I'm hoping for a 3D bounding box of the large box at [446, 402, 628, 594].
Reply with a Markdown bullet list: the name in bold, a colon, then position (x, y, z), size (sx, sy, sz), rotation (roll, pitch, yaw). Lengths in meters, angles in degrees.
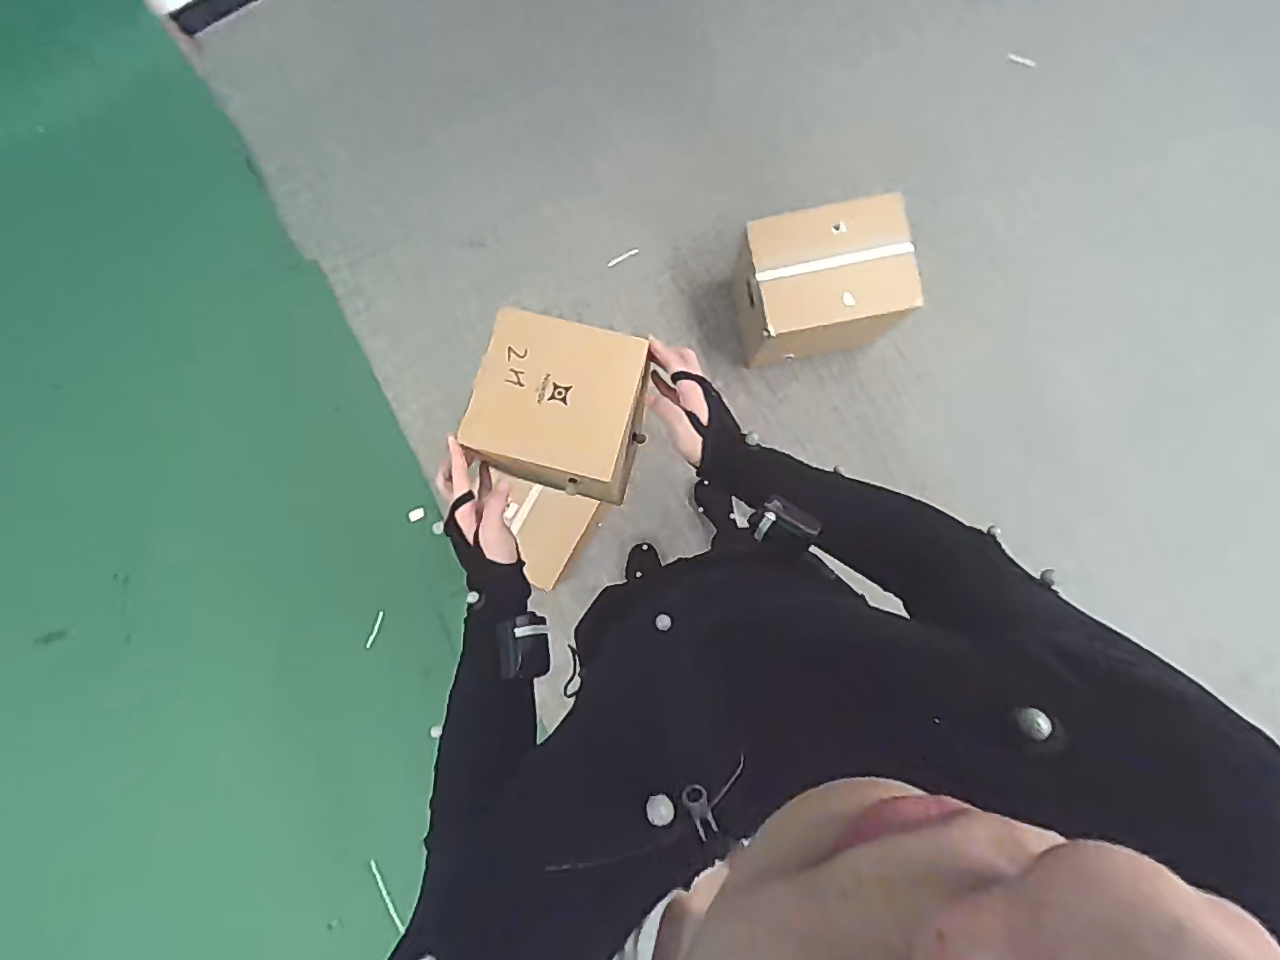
- **large box**: position (-0.262, 0.049, 1.511), size (0.320, 0.320, 0.408), rotation (28, 88, 5)
